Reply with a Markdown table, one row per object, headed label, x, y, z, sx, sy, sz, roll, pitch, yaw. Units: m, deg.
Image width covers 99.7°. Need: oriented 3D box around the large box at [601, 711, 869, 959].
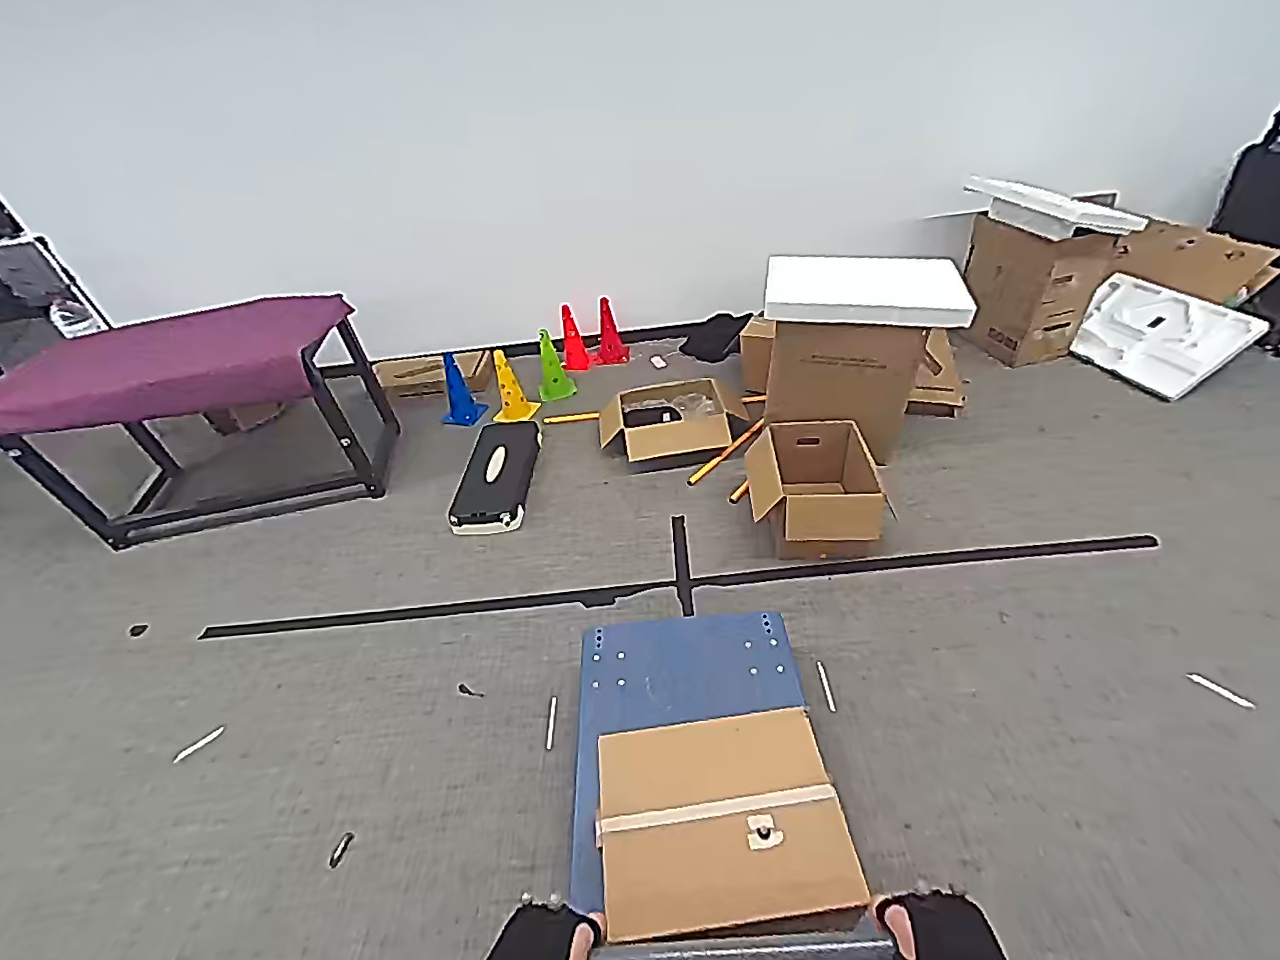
| label | x | y | z | sx | sy | sz | roll | pitch | yaw |
| --- | --- | --- | --- | --- | --- | --- | --- | --- | --- |
| large box | 0.149 | 0.686 | 1.020 | 0.408 | 0.320 | 0.320 | -7 | 40 | -2 |
